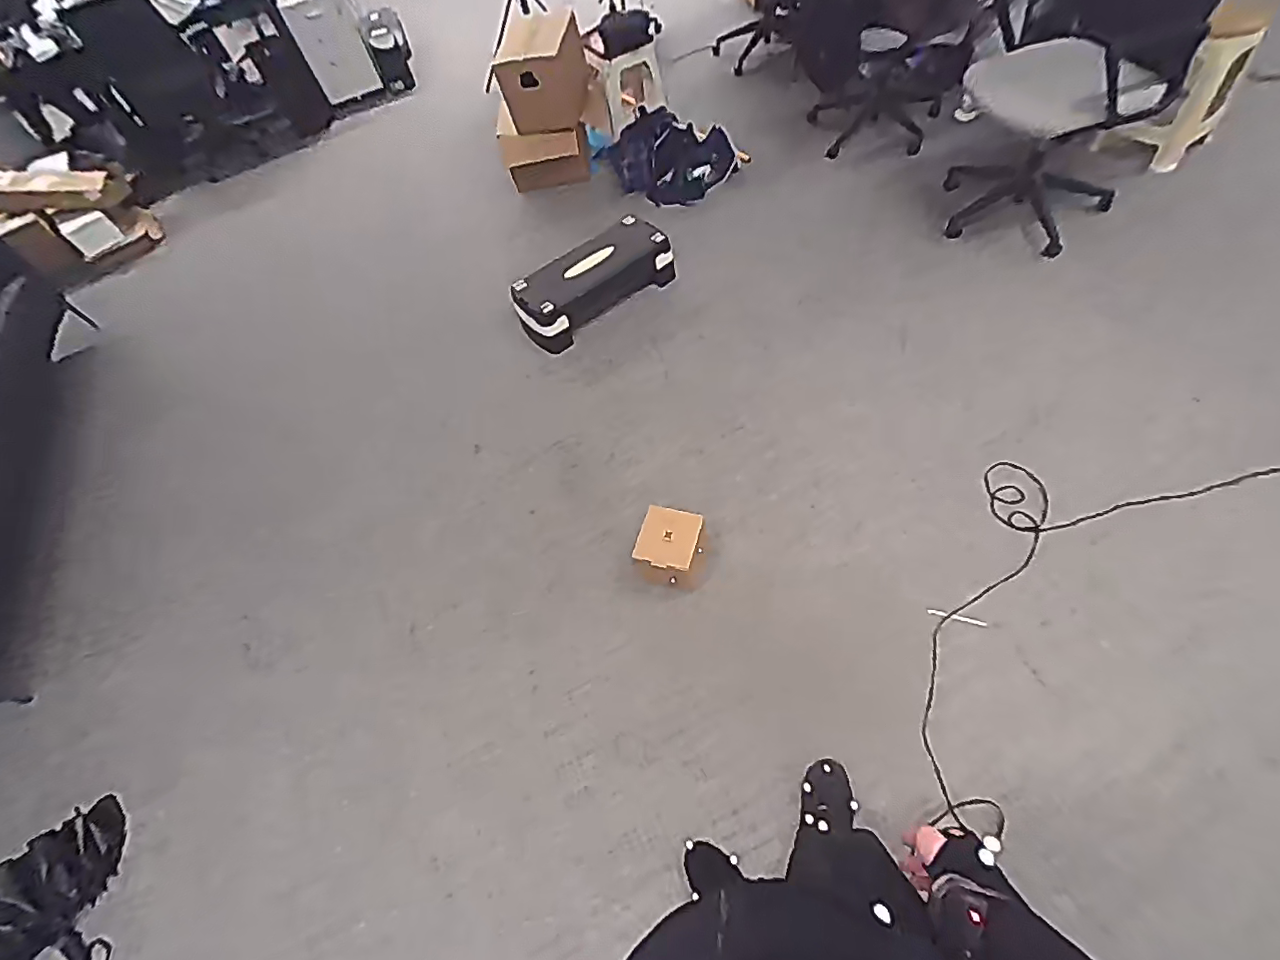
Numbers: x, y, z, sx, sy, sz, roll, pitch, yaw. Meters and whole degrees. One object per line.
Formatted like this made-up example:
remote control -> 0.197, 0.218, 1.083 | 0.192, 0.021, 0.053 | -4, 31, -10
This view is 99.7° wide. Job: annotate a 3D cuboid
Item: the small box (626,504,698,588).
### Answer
small box -> 0.072, 0.199, 1.590 | 0.168, 0.176, 0.179 | 11, 59, 16
